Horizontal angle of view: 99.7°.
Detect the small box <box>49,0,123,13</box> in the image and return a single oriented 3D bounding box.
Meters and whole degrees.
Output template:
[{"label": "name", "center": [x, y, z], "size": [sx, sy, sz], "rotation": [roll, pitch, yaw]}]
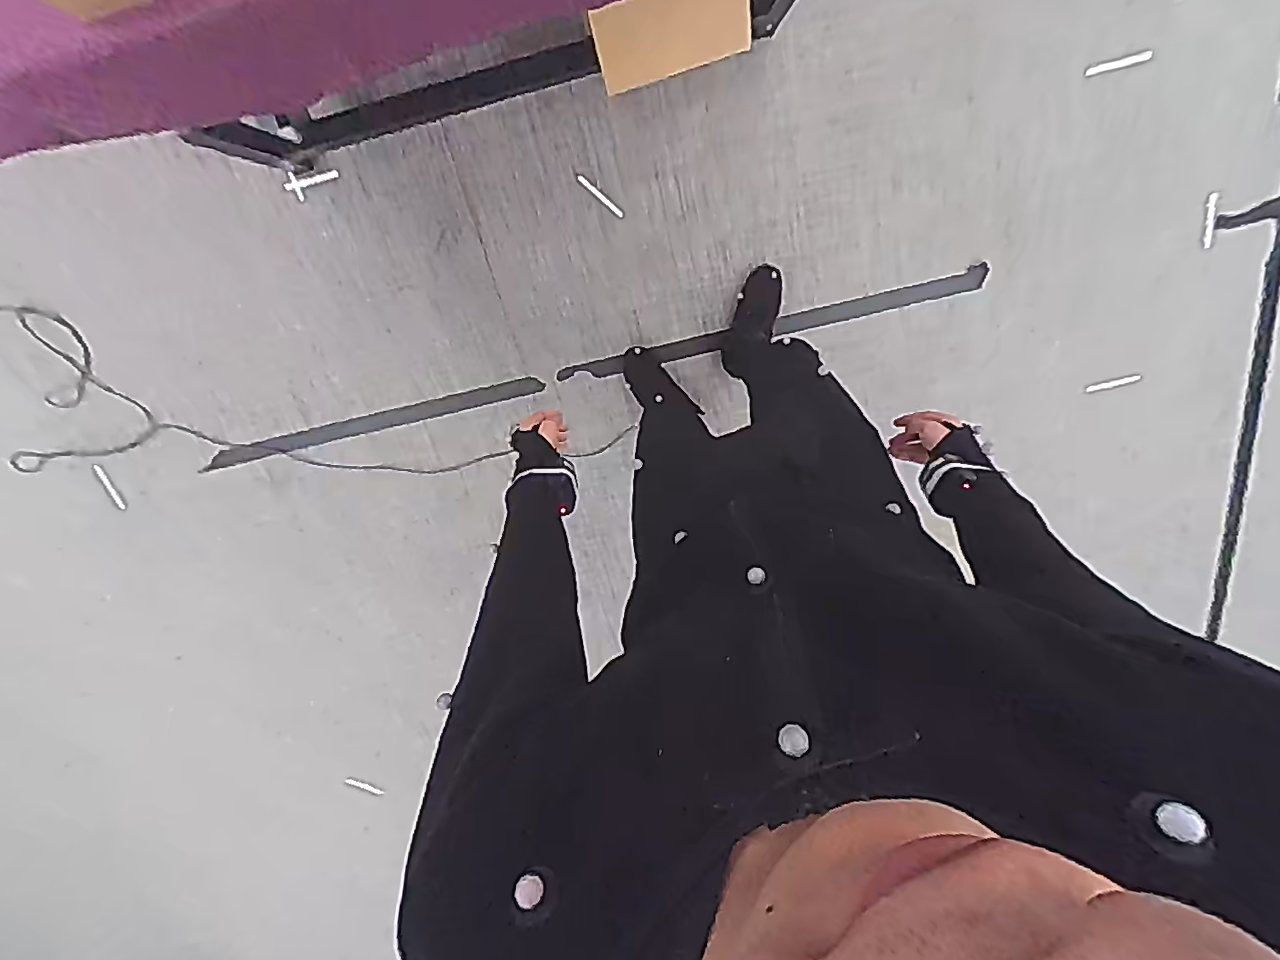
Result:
[{"label": "small box", "center": [-0.567, -0.581, 0.499], "size": [0.179, 0.176, 0.168], "rotation": [-15, 112, 3]}]
